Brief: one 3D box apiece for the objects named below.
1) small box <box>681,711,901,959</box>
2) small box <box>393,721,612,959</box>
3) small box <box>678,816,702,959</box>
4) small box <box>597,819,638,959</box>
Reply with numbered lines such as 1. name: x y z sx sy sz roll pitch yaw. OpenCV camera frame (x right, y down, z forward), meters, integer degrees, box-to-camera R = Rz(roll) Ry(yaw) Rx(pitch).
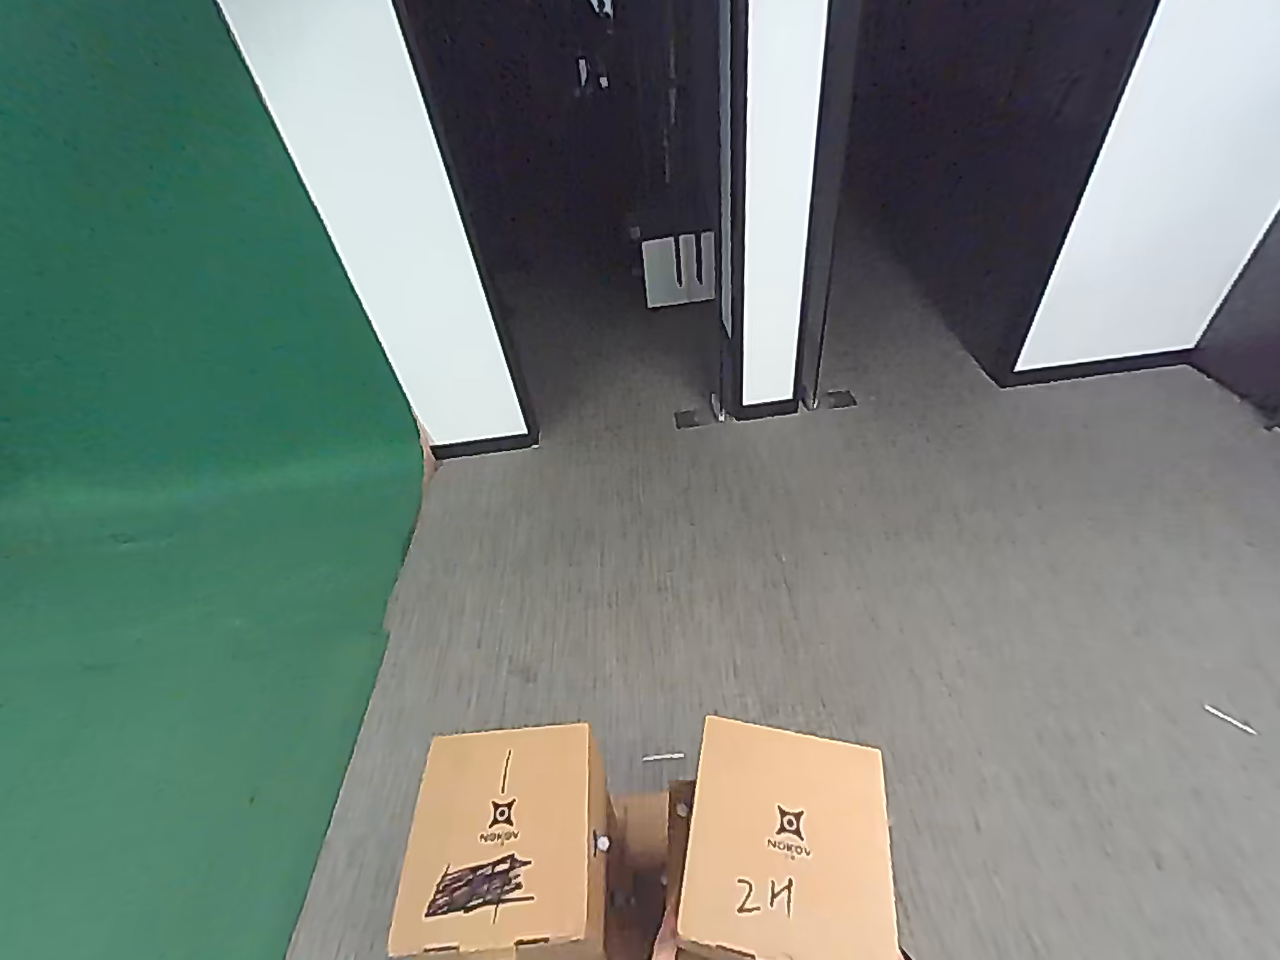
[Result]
1. small box: 0.131 0.353 0.514 0.168 0.176 0.179 6 46 11
2. small box: -0.120 0.375 0.552 0.168 0.176 0.179 -6 41 0
3. small box: 0.141 0.595 0.753 0.168 0.176 0.179 -4 42 8
4. small box: -0.091 0.614 0.775 0.168 0.176 0.179 -5 42 2
